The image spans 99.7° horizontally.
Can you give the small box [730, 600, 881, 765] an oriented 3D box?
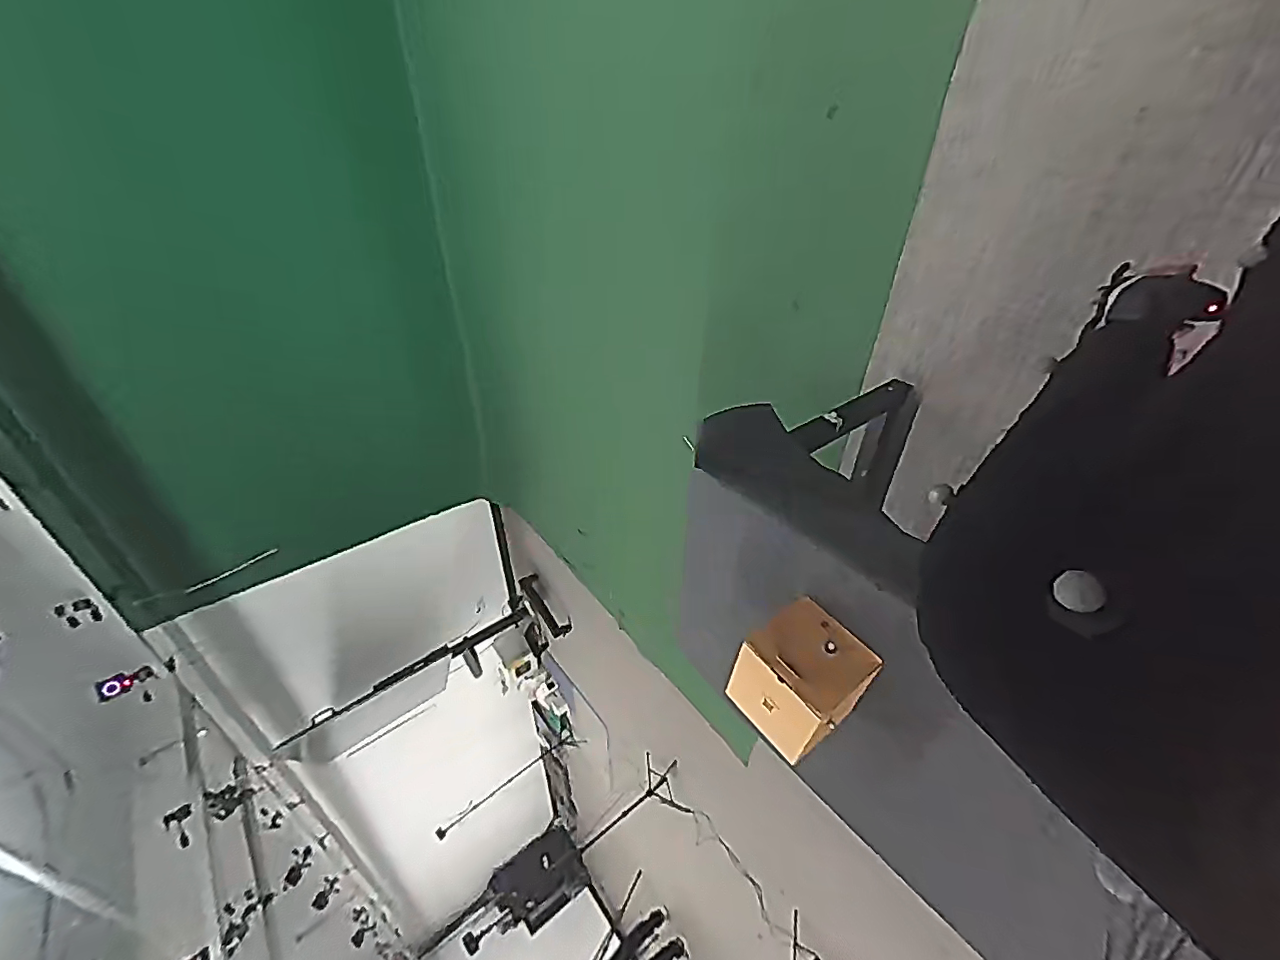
[{"bbox_3d":[0.285,0.346,0.942,0.168,0.176,0.179,42,142,35],"label":"small box"}]
